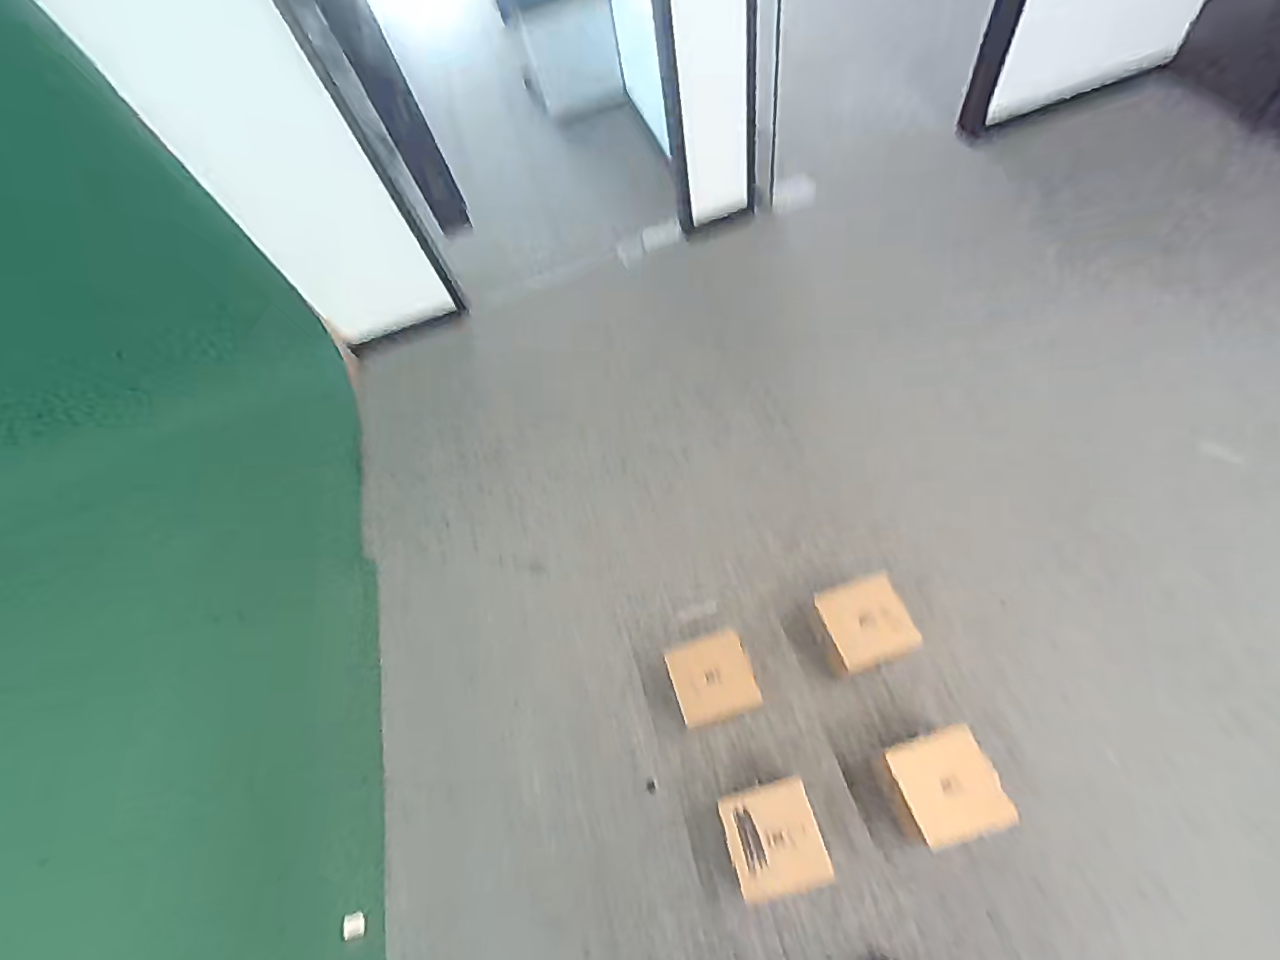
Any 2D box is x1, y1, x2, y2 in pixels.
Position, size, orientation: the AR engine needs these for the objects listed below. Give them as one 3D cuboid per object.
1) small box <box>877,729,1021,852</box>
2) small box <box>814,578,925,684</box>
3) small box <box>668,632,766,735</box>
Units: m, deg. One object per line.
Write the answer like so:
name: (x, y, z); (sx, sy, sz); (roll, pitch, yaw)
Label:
small box: (0.596, 0.618, 1.077); (0.179, 0.176, 0.168); (-19, 58, -1)
small box: (0.515, 0.354, 1.247); (0.179, 0.176, 0.168); (-19, 58, 0)
small box: (0.177, 0.473, 1.247); (0.179, 0.176, 0.168); (-19, 57, 1)
